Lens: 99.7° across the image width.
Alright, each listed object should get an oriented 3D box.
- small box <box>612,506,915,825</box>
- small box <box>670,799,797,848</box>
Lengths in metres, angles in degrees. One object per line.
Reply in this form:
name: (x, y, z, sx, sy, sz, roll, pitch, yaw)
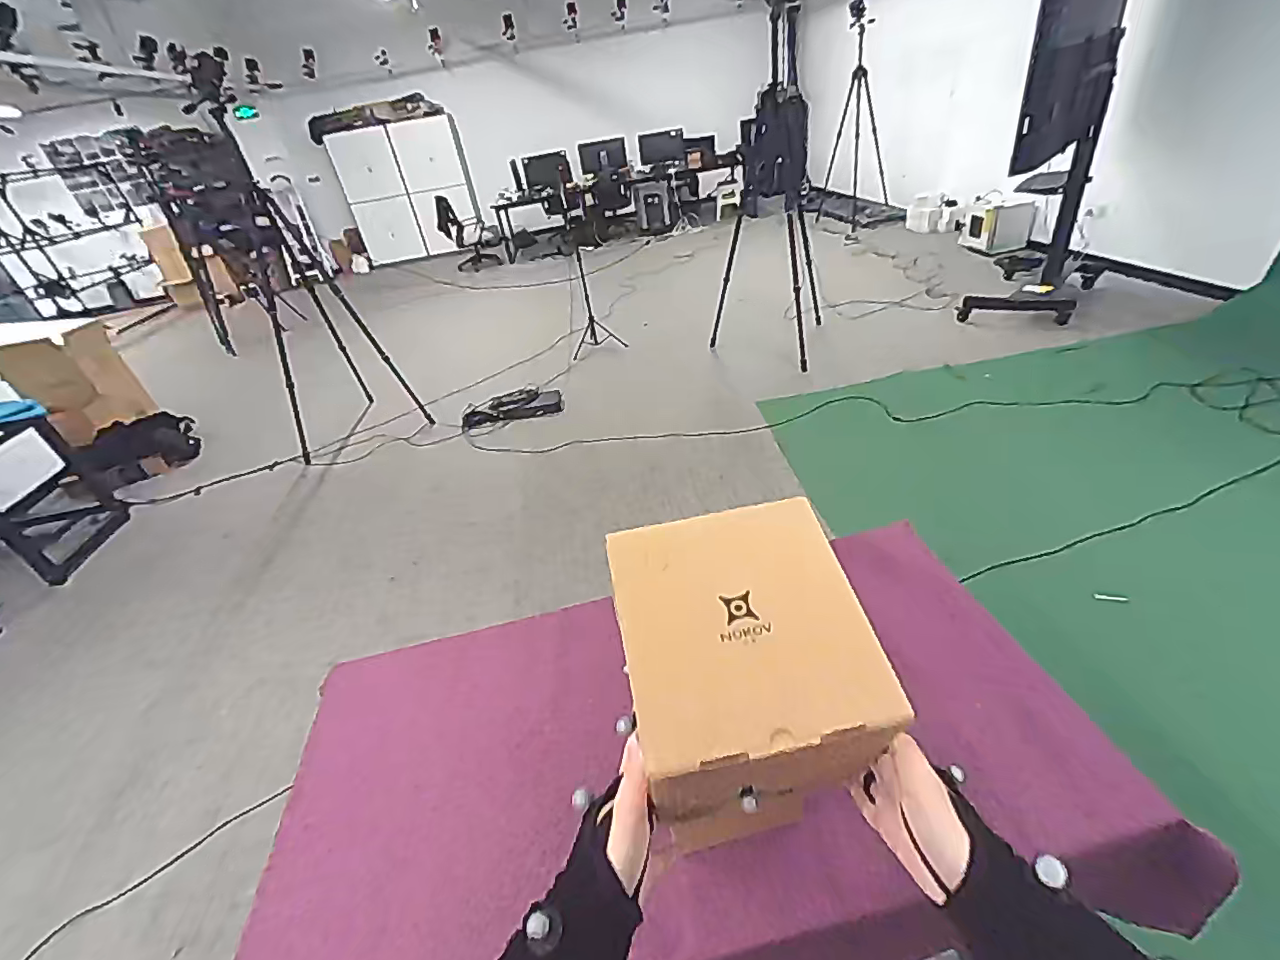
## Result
small box: (0.075, 0.149, 0.432, 0.168, 0.176, 0.179, -11, 51, -4)
small box: (0.111, 0.370, 0.750, 0.179, 0.176, 0.168, -14, 34, -4)
